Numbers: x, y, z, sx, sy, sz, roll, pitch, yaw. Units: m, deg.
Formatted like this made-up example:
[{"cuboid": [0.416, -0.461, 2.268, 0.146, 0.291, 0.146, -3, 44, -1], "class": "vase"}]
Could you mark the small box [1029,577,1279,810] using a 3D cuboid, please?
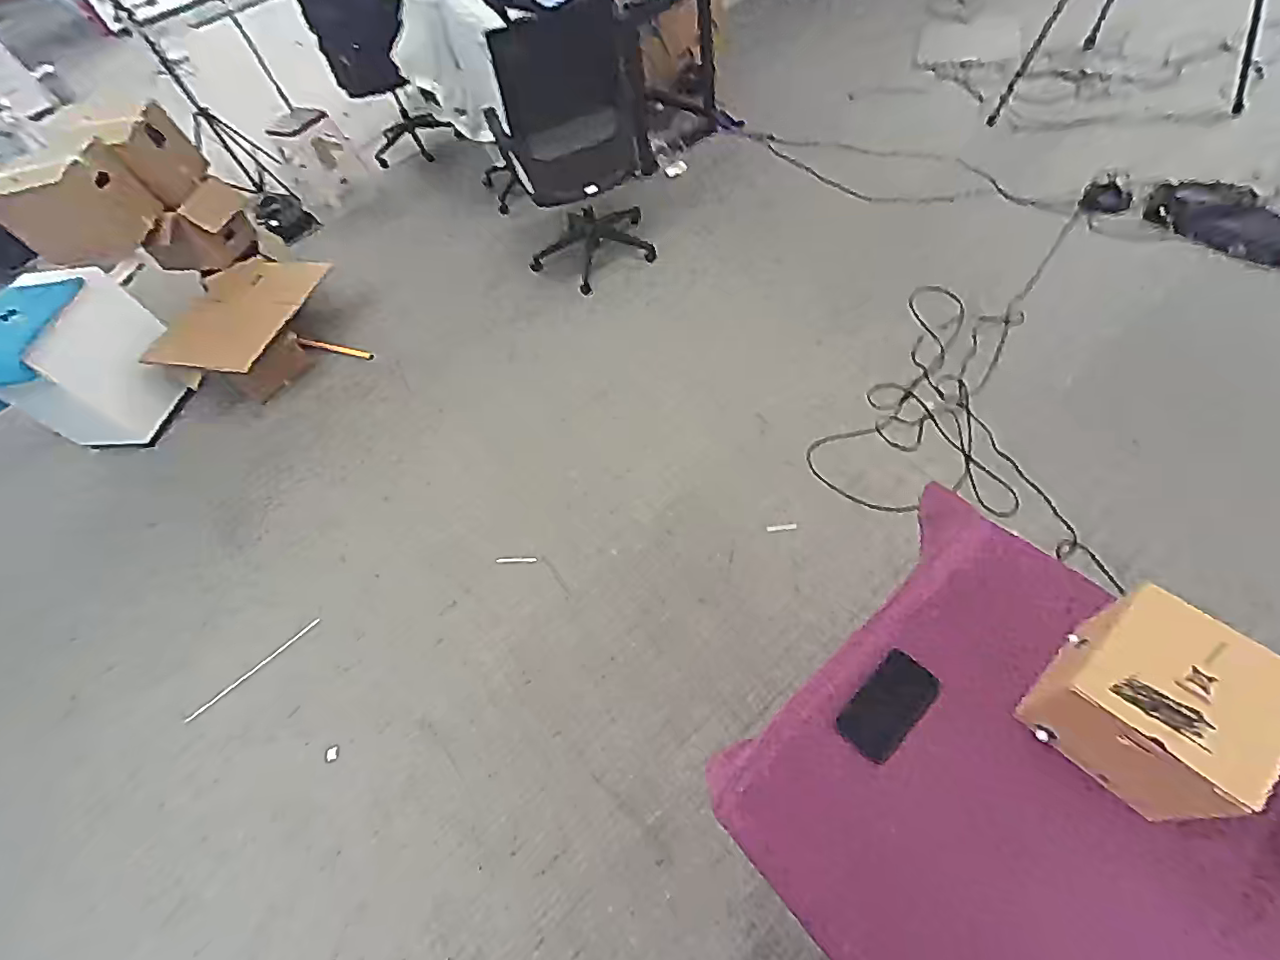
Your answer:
[{"cuboid": [0.601, 0.255, 0.634, 0.179, 0.176, 0.168, -40, 58, -15], "class": "small box"}]
